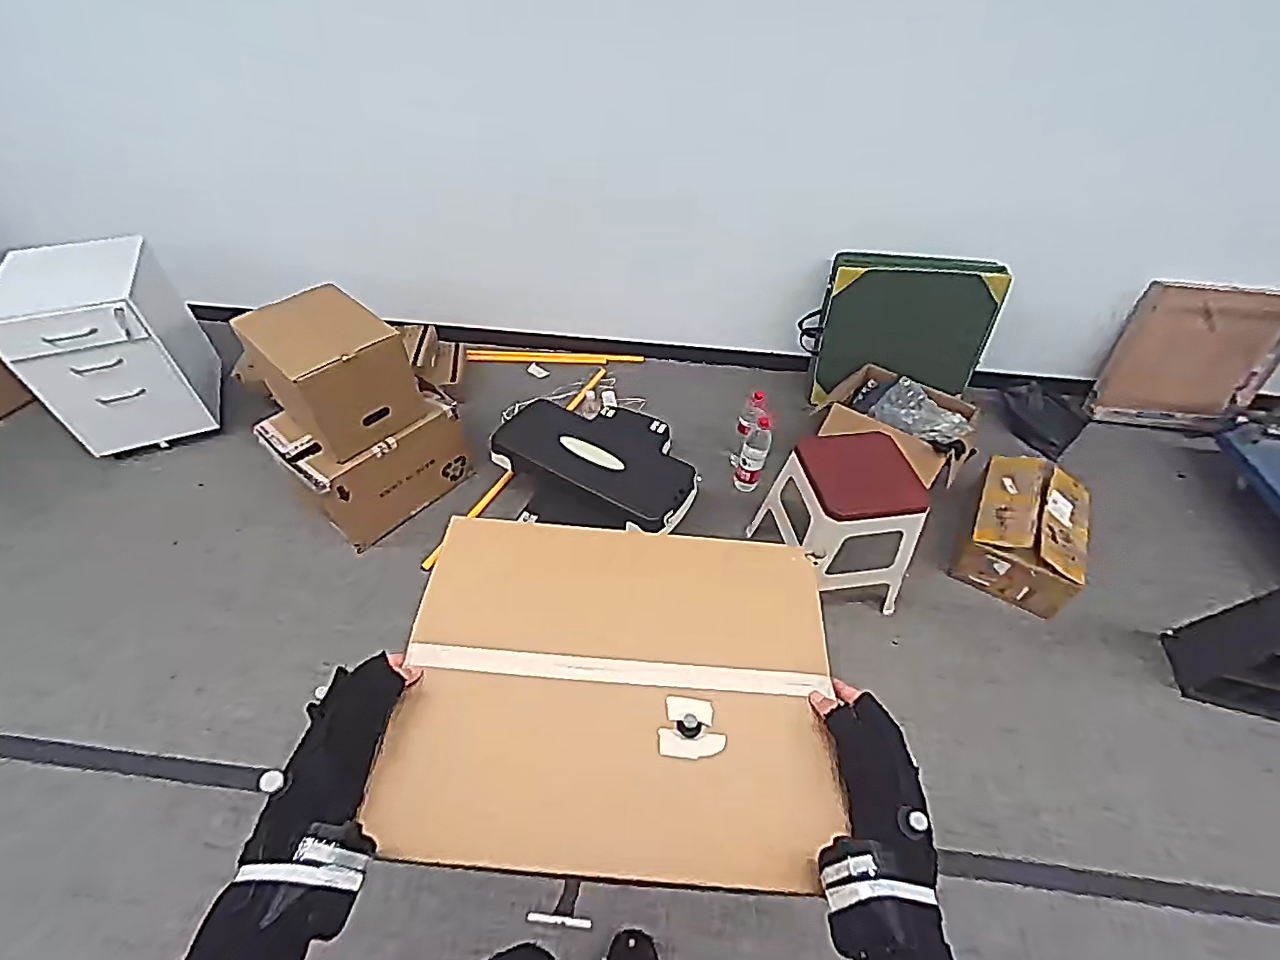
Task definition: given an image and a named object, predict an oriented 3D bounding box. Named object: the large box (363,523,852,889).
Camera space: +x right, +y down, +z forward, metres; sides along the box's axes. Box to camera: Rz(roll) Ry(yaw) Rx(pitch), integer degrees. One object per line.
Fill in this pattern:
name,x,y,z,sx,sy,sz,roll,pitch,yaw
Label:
large box,-0.027,0.275,0.638,0.408,0.320,0.320,5,53,0
